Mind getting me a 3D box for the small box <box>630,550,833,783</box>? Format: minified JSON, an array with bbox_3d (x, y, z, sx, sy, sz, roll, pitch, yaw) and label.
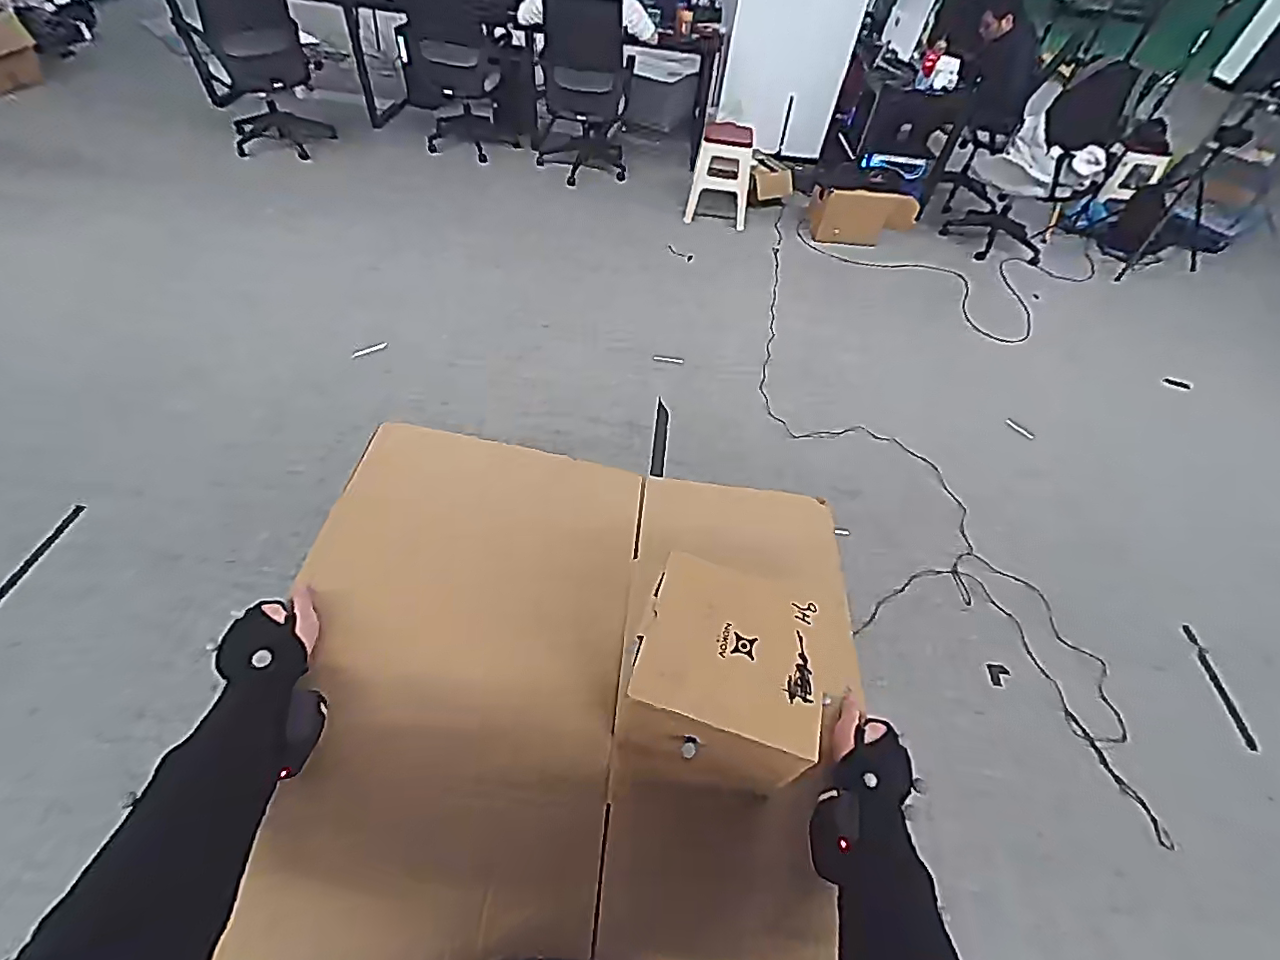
[{"bbox_3d":[0.093,0.207,0.591,0.179,0.176,0.168,15,51,9],"label":"small box"}]
